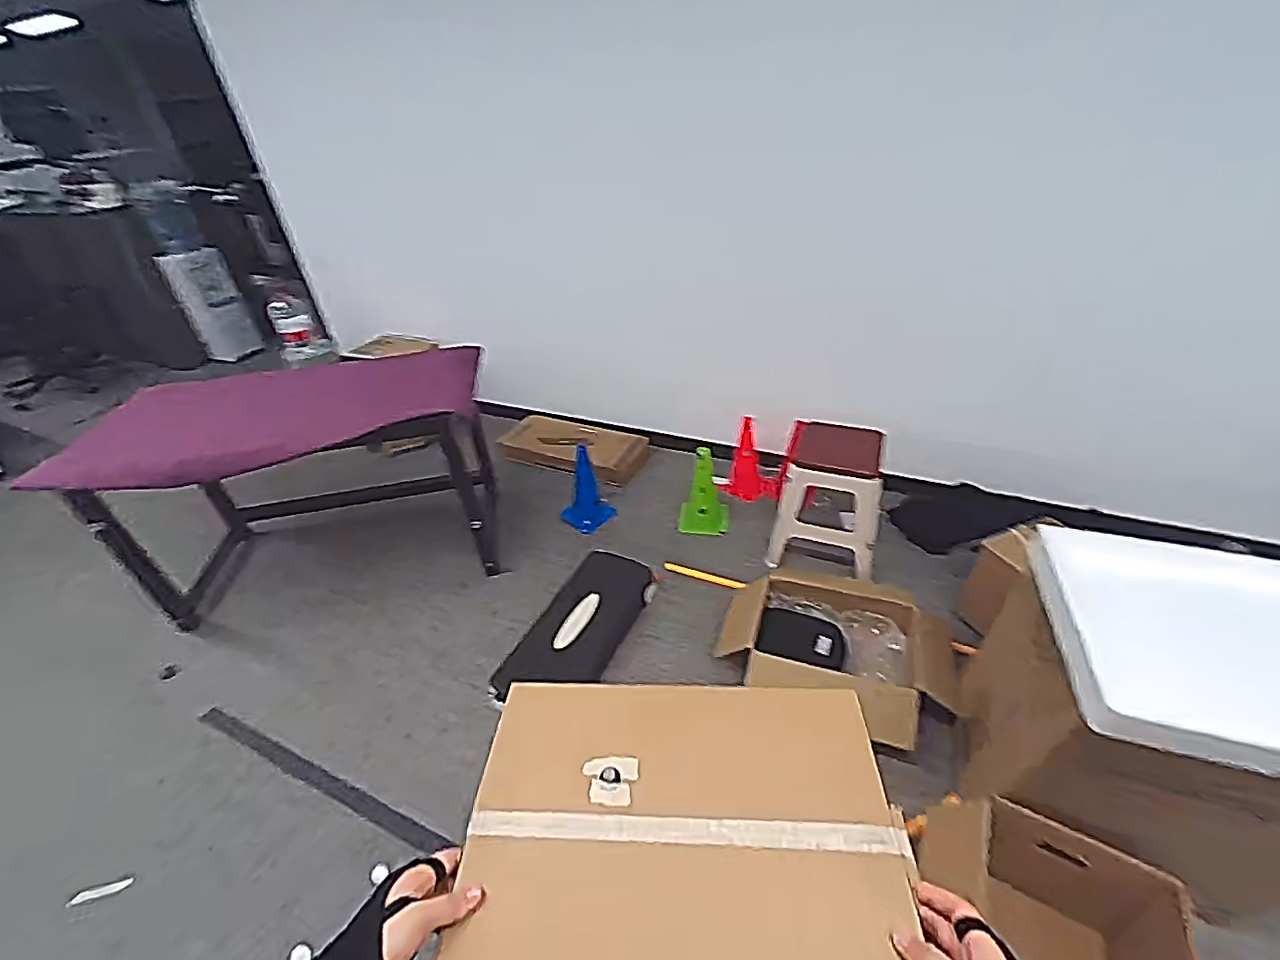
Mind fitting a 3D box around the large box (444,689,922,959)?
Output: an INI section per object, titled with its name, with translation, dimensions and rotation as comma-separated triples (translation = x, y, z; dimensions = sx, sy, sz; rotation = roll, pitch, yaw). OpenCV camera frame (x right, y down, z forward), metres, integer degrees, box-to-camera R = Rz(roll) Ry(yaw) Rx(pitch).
[large box]
translation = 0.050, 0.463, 0.606
dimensions = 0.408, 0.320, 0.320
rotation = -3, 35, 7
